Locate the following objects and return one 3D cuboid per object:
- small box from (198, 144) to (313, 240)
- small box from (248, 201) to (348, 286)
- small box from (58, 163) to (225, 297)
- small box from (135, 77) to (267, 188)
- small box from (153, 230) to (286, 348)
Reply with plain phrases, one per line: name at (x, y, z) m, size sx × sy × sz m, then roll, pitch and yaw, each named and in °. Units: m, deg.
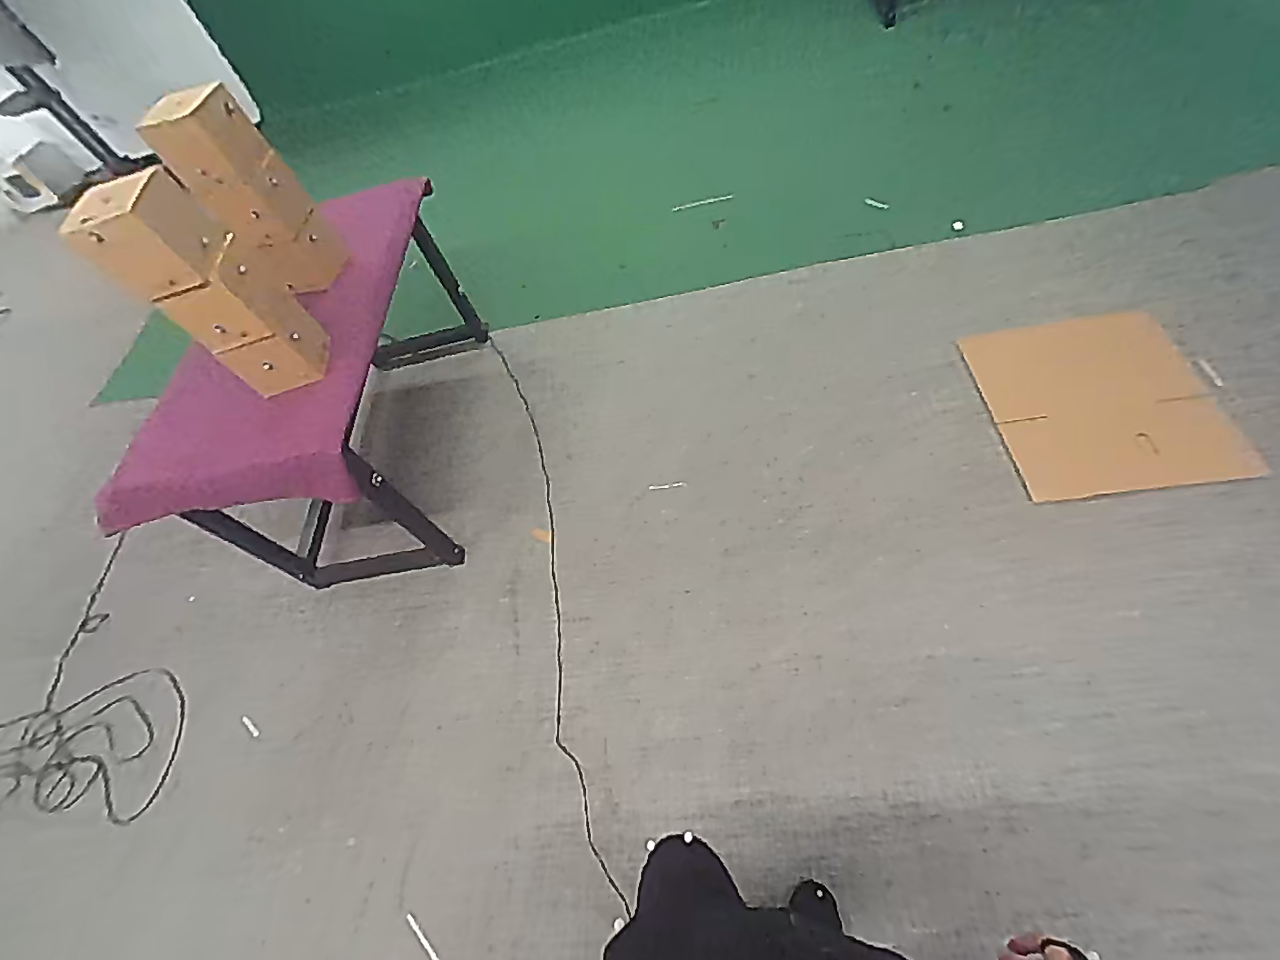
small box at (-1.061, -0.794, 1.509) m, size 0.168 × 0.176 × 0.179 m, roll -3°, pitch 58°, yaw 11°
small box at (-1.031, -0.711, 1.646) m, size 0.168 × 0.176 × 0.179 m, roll -3°, pitch 57°, yaw 12°
small box at (-1.022, -0.517, 1.130) m, size 0.168 × 0.176 × 0.179 m, roll -15°, pitch 56°, yaw 6°
small box at (-1.098, -0.878, 1.372) m, size 0.168 × 0.176 × 0.179 m, roll -4°, pitch 58°, yaw 11°
small box at (-0.973, -0.445, 1.269) m, size 0.168 × 0.176 × 0.179 m, roll -16°, pitch 57°, yaw 5°
